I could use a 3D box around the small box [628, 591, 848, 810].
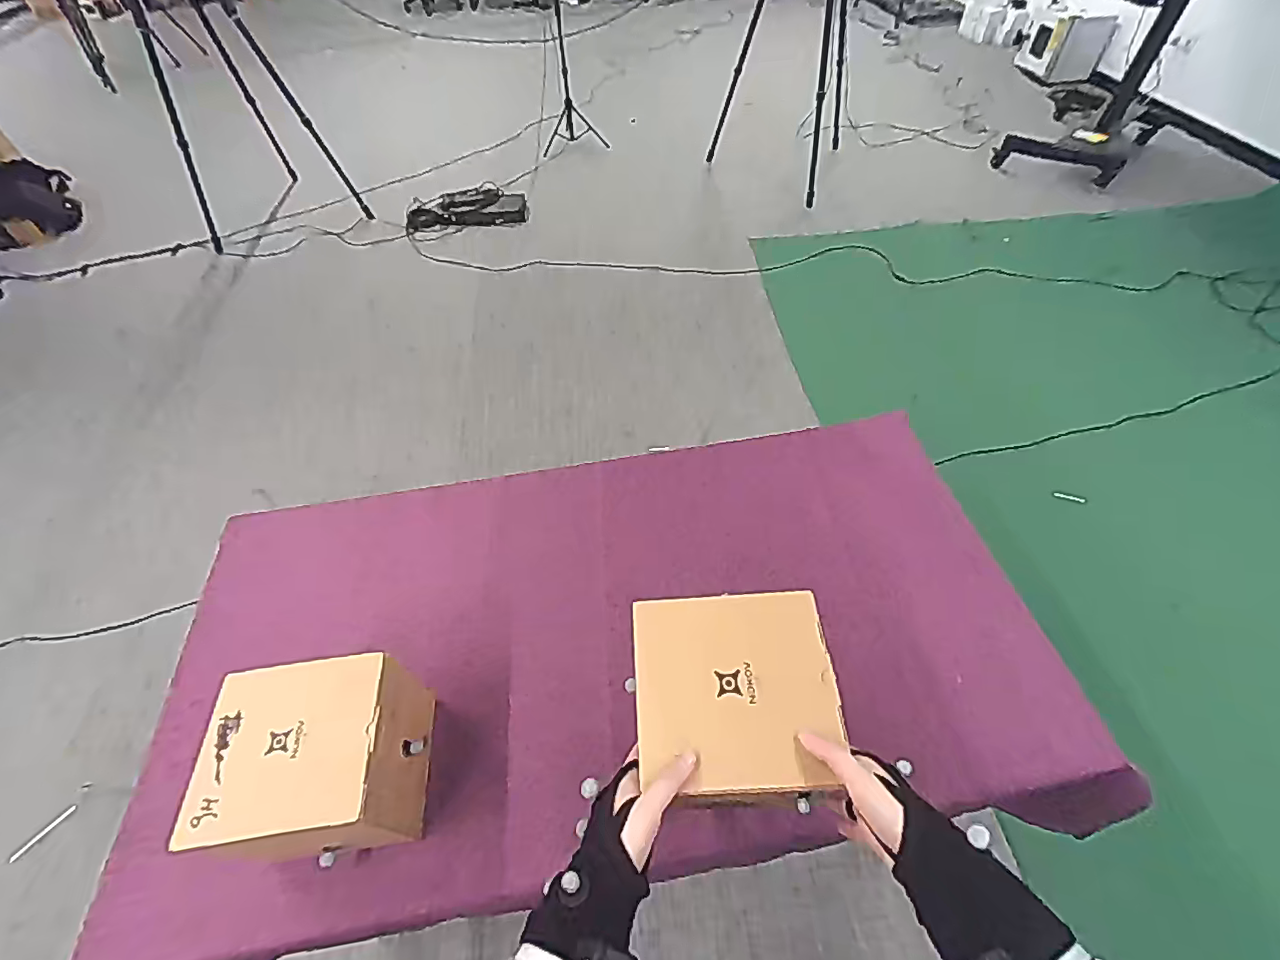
[{"bbox_3d":[0.084,0.225,0.542,0.179,0.176,0.168,-4,54,2],"label":"small box"}]

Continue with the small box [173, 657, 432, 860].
[{"bbox_3d":[-0.353,0.319,0.614,0.179,0.176,0.168,-7,51,-3],"label":"small box"}]
